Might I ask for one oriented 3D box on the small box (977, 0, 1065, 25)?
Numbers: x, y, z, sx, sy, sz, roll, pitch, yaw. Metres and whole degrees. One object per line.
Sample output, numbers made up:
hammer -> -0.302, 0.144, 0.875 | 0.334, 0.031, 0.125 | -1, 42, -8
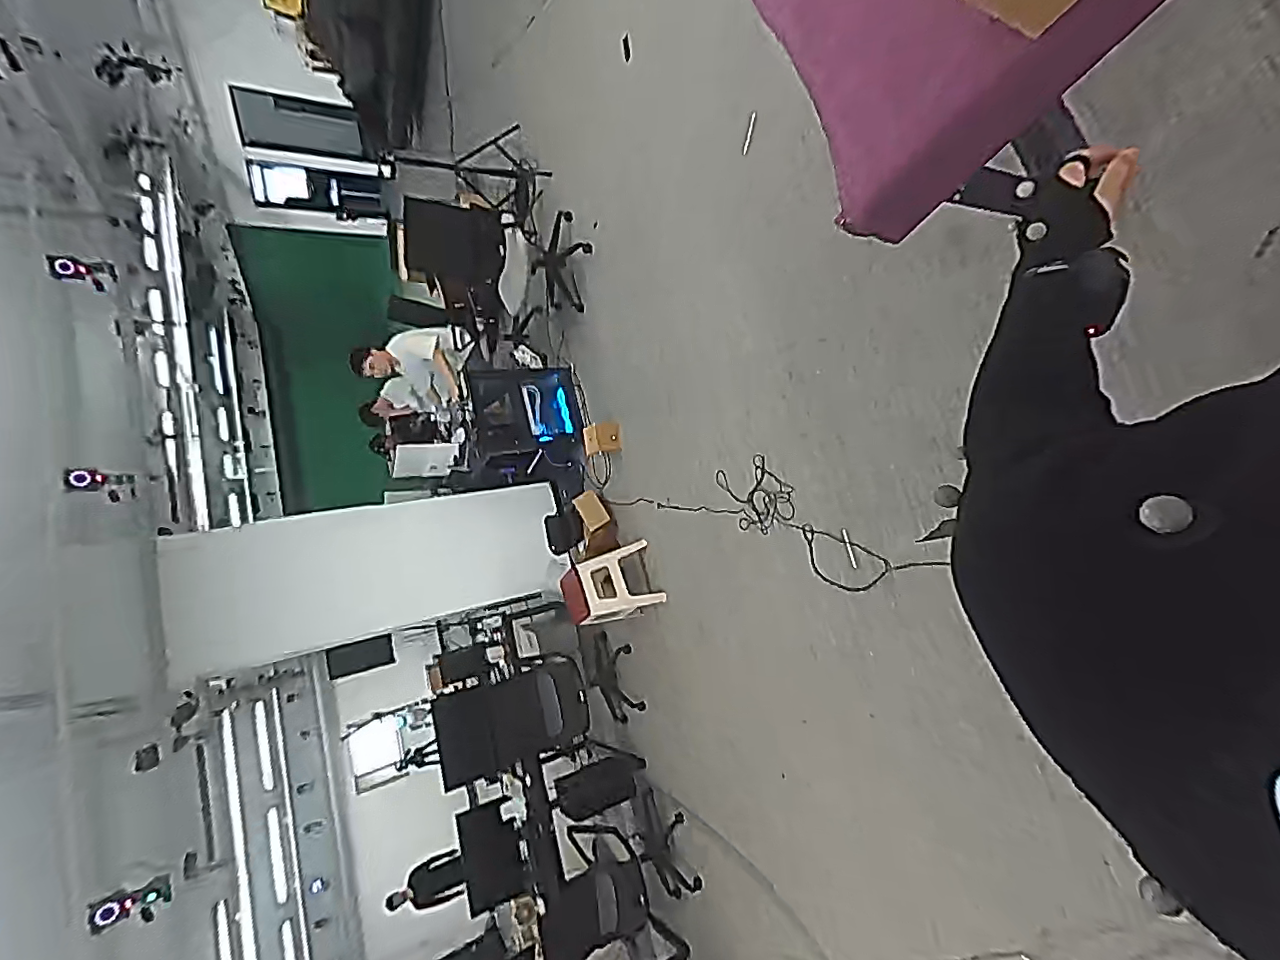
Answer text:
small box -> 0.432, -0.639, 0.564 | 0.179, 0.176, 0.168 | -32, 70, 59
